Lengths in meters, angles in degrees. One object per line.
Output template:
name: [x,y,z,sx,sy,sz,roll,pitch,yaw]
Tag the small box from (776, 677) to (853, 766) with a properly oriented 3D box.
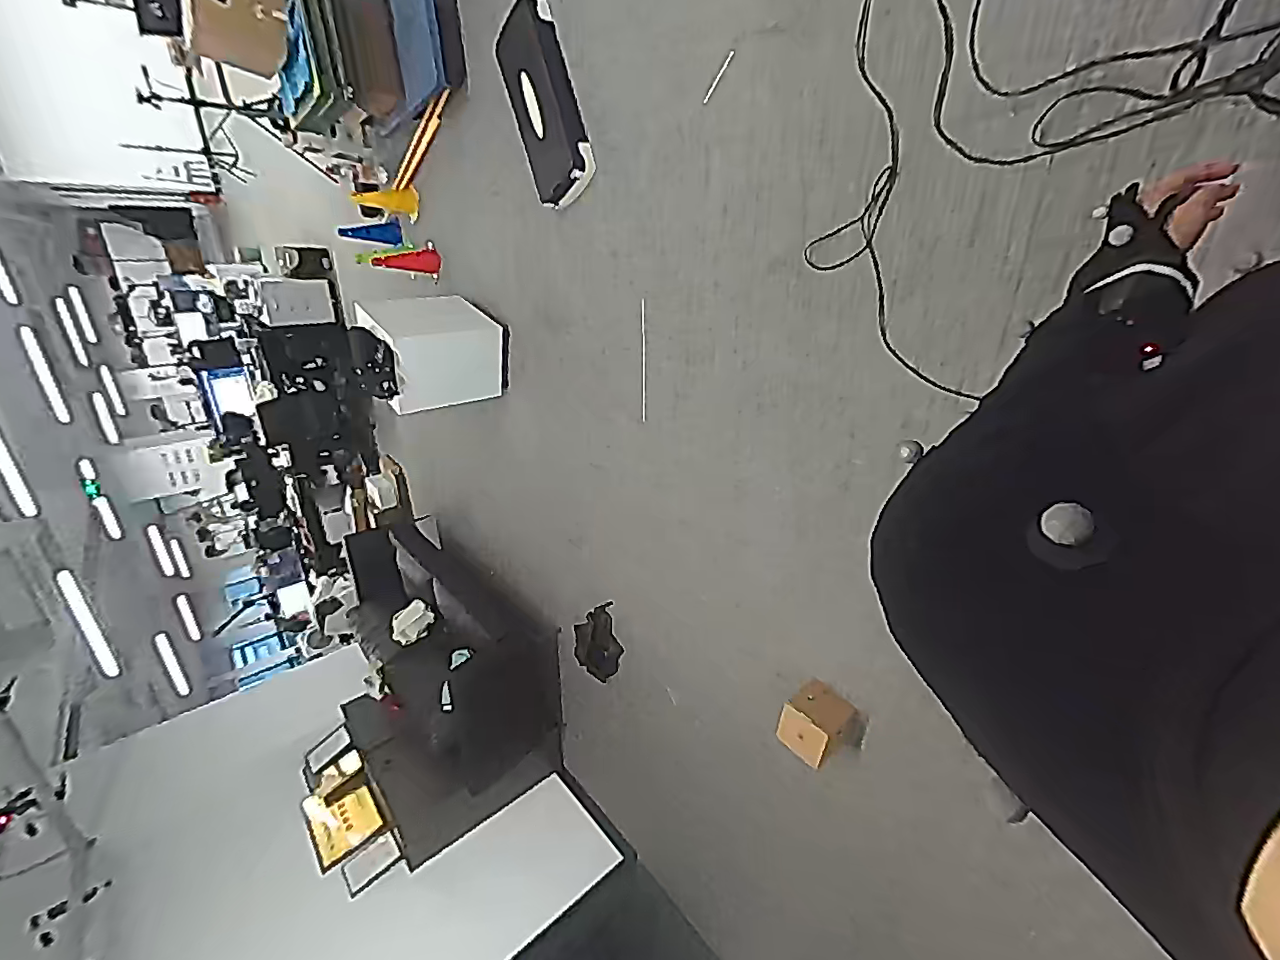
small box: [0.580,0.790,1.789,0.168,0.176,0.179,31,129,42]
